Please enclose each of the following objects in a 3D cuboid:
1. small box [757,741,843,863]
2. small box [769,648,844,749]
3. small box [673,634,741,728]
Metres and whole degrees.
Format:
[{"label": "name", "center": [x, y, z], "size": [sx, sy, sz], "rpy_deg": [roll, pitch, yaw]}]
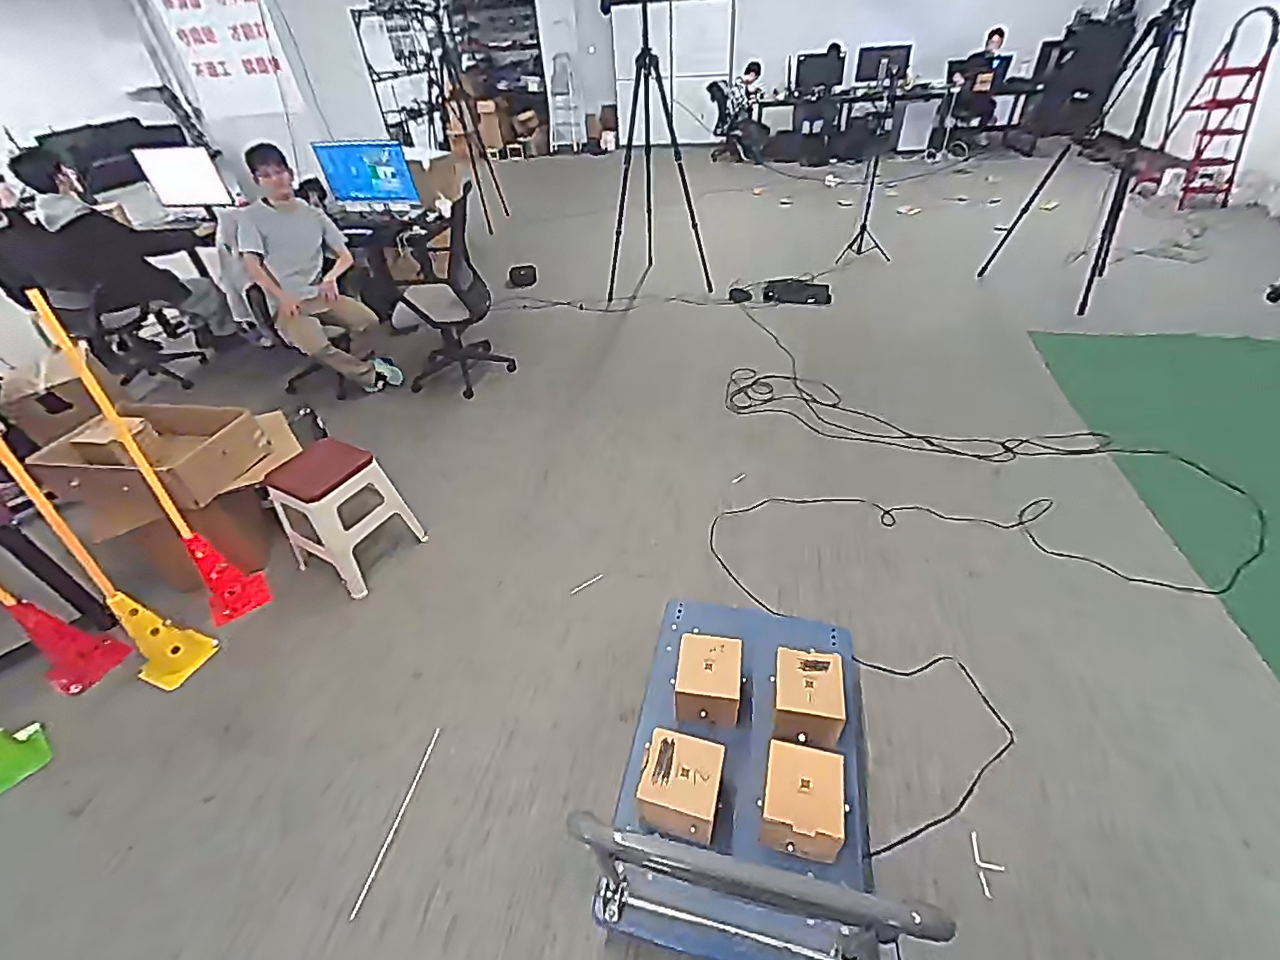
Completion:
[{"label": "small box", "center": [0.366, 0.740, 1.243], "size": [0.168, 0.176, 0.179], "rpy_deg": [8, 43, 13]}, {"label": "small box", "center": [0.434, 0.576, 1.424], "size": [0.168, 0.176, 0.179], "rpy_deg": [6, 43, 12]}, {"label": "small box", "center": [0.185, 0.549, 1.475], "size": [0.168, 0.176, 0.179], "rpy_deg": [5, 42, 9]}]
